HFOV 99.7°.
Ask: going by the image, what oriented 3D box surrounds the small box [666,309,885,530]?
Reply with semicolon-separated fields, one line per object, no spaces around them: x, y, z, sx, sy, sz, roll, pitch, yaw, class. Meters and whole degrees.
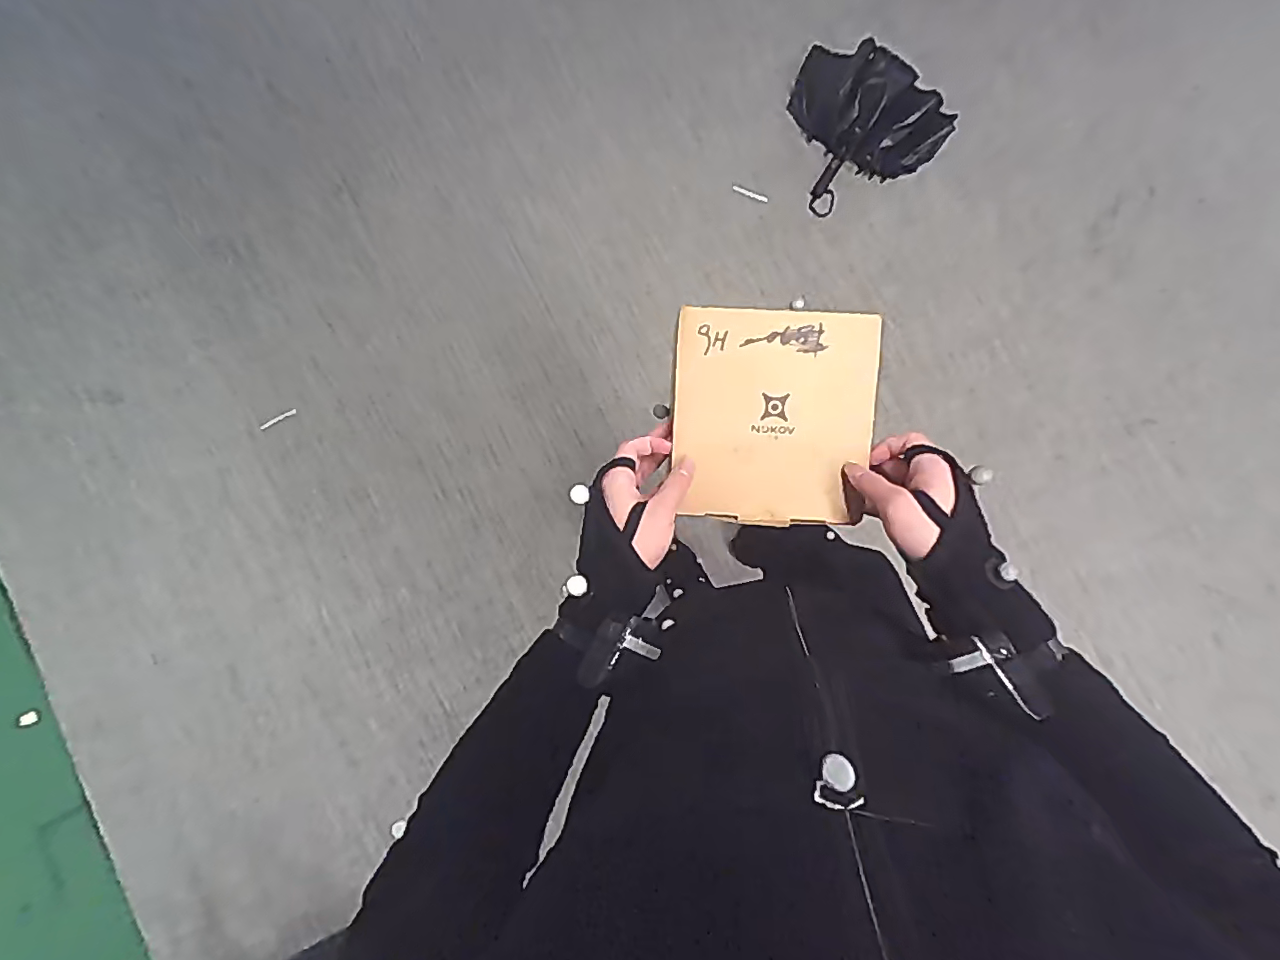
0.113;-0.059;0.526;0.168;0.176;0.179;3;98;0;small box
